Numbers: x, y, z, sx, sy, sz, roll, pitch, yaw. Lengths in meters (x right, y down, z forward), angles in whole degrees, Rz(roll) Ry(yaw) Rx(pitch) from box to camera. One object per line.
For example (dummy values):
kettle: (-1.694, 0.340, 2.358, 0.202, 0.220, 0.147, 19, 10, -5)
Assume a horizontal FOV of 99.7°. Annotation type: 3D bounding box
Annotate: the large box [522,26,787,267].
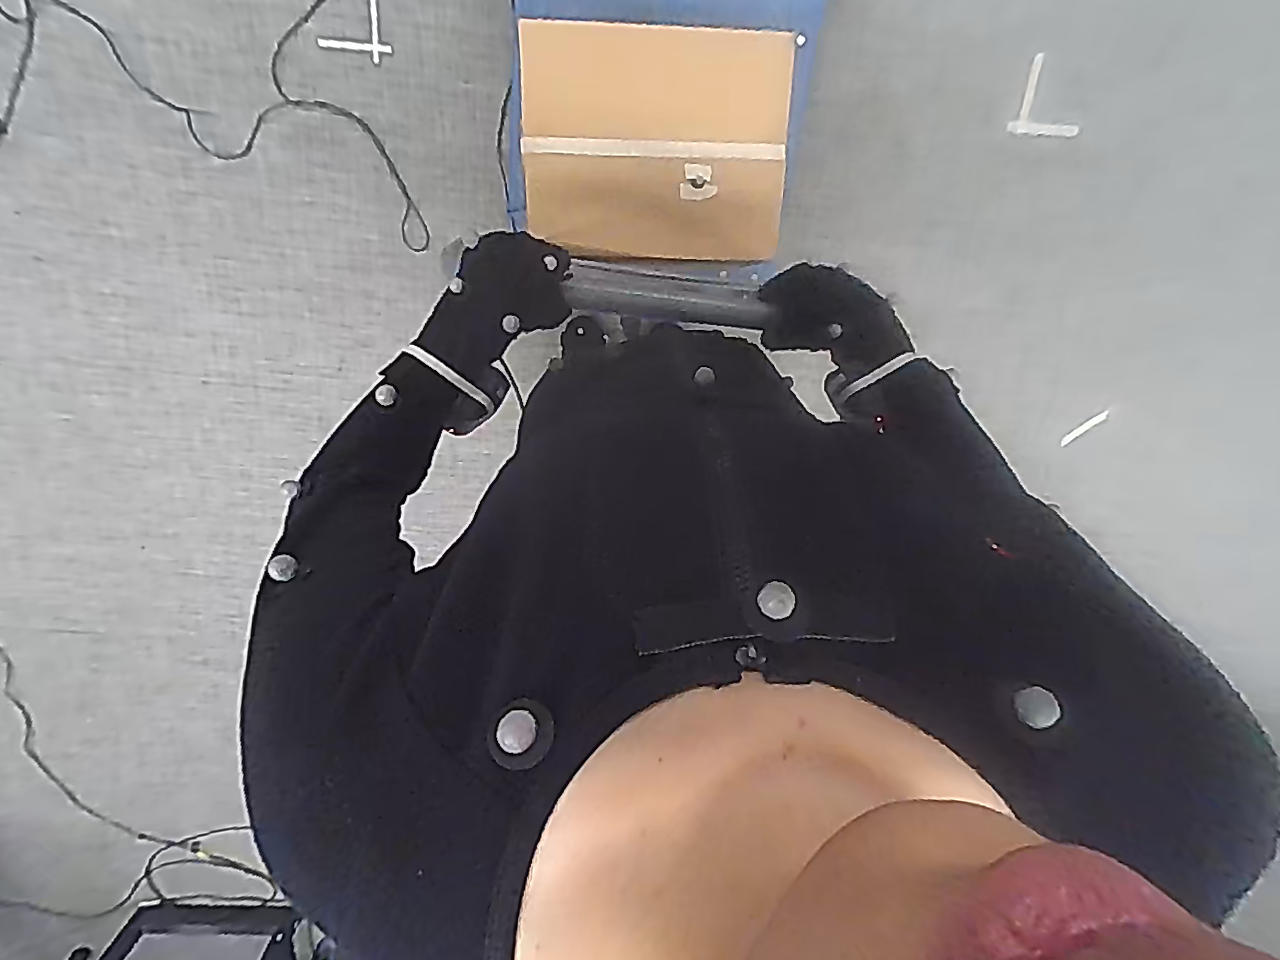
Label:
large box: (0.013, -0.565, 0.987, 0.408, 0.320, 0.320, 0, 109, -4)
